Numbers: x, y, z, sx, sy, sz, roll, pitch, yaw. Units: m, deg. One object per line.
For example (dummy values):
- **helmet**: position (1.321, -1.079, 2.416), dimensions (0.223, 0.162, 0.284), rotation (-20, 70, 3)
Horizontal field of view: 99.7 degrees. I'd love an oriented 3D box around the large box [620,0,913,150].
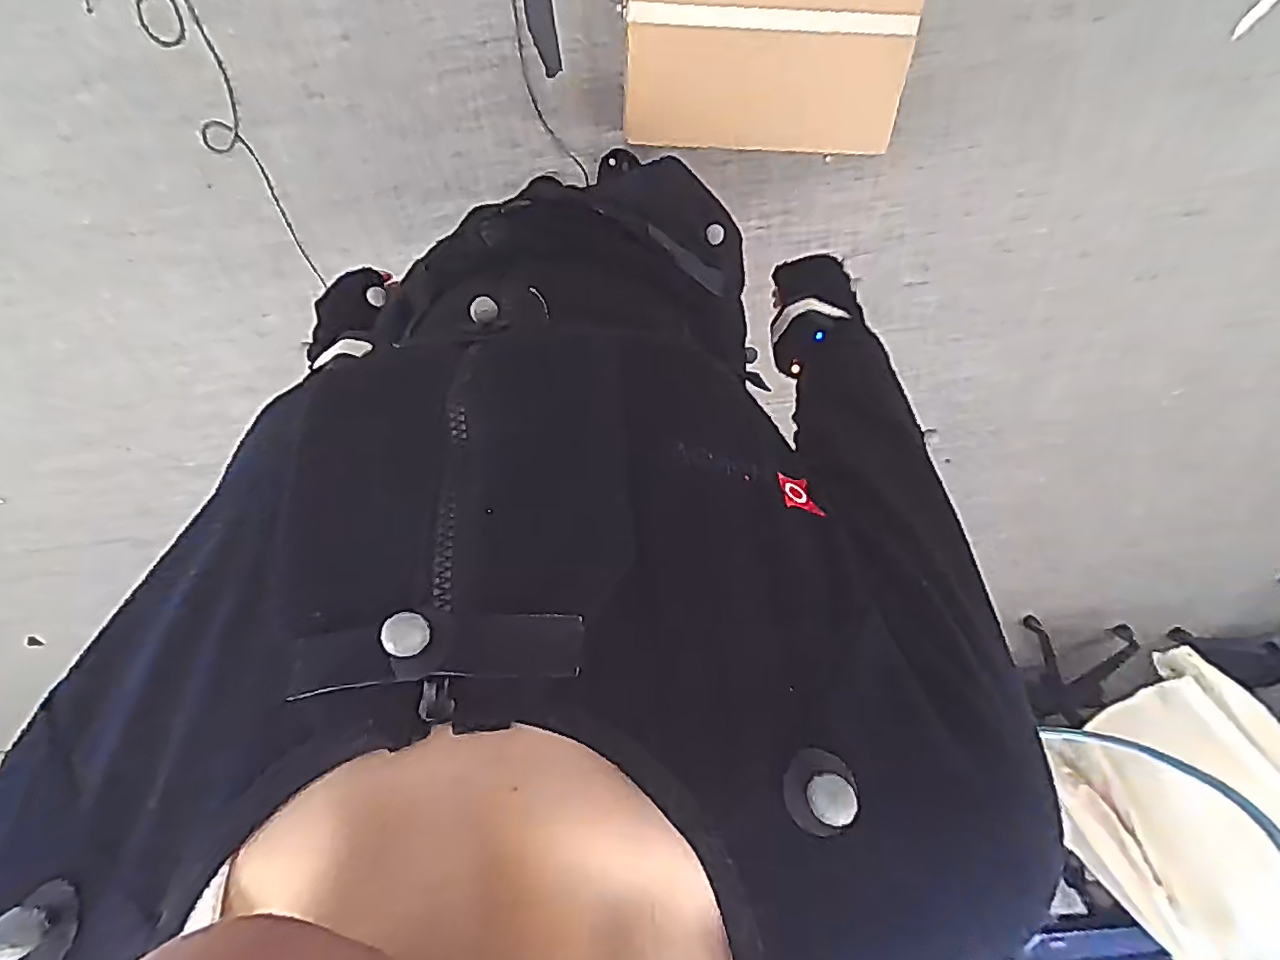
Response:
- **large box**: position (0.173, -0.730, 0.865), dimensions (0.408, 0.320, 0.320), rotation (1, 125, -3)
